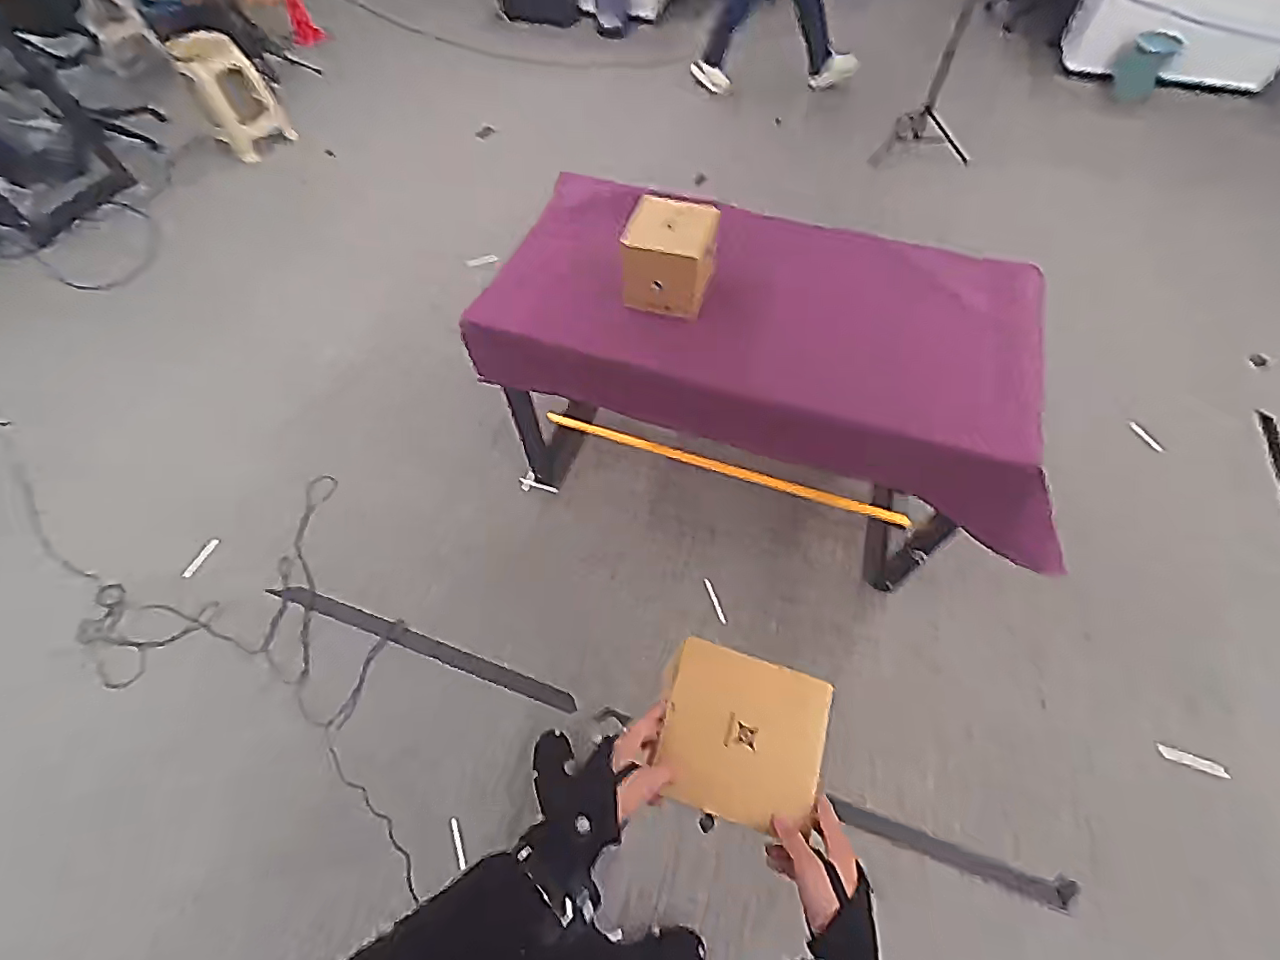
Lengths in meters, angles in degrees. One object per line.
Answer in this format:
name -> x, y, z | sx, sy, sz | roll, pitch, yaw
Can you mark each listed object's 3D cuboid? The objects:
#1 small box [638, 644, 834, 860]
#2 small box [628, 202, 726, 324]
small box -> 0.105, 0.315, 0.643 | 0.179, 0.176, 0.168 | 17, 63, 7
small box -> 0.081, -0.473, 1.190 | 0.168, 0.176, 0.179 | 16, 60, 10
